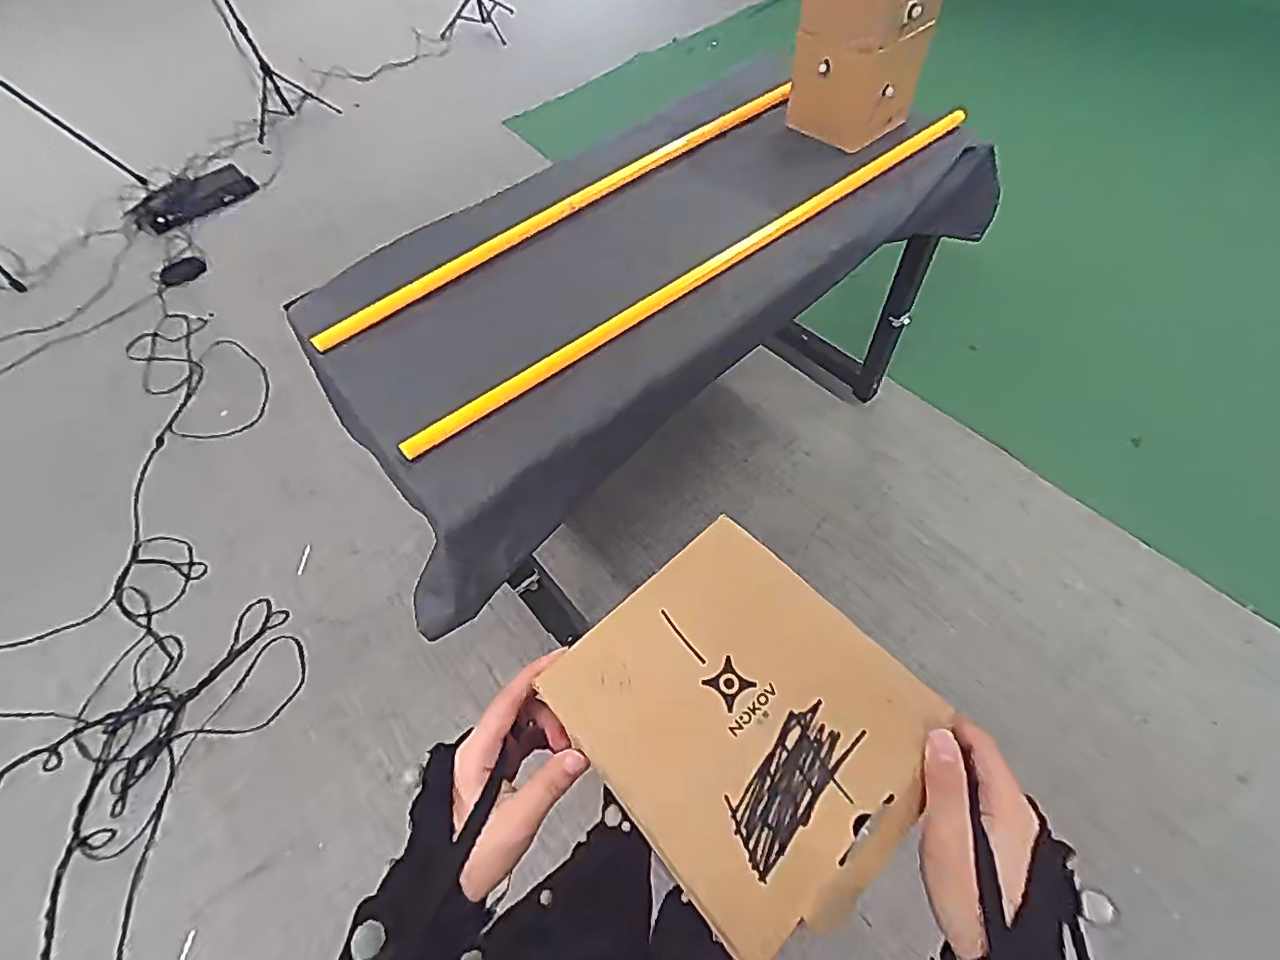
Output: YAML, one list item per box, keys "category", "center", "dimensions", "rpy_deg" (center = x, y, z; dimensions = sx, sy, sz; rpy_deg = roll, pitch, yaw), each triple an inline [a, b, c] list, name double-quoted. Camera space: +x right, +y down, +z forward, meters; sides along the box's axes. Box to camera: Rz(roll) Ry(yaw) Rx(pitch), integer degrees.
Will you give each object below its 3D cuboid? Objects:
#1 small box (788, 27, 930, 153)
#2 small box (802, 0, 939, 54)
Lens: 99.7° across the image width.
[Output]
- category: "small box"
  center: [0.410, -0.766, 1.044]
  dimensions: [0.168, 0.176, 0.179]
  rpy_deg: [-36, 61, -15]
- category: "small box"
  center: [0.396, -0.856, 0.909]
  dimensions: [0.168, 0.176, 0.179]
  rpy_deg: [-39, 62, -15]
